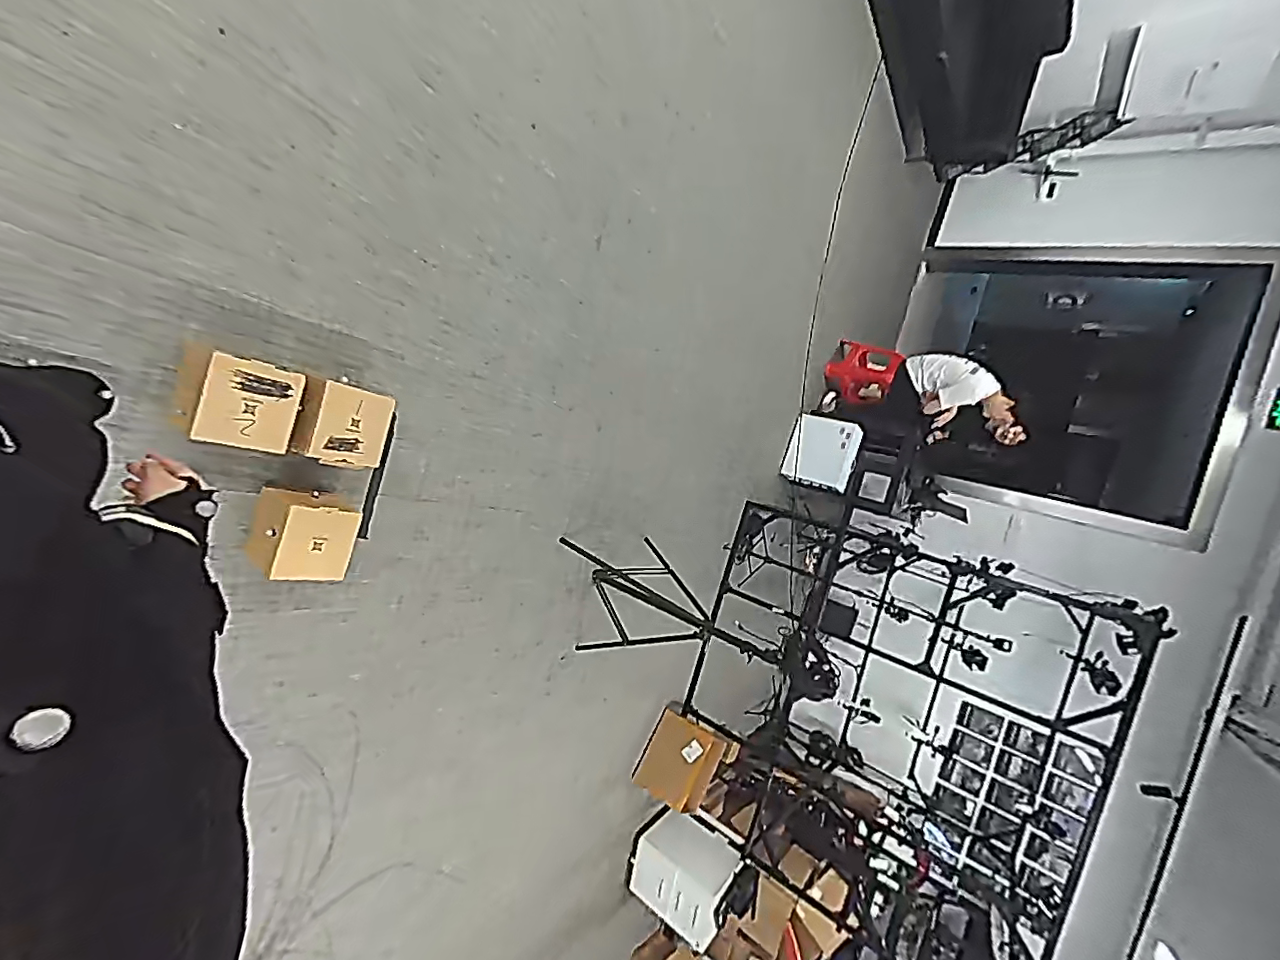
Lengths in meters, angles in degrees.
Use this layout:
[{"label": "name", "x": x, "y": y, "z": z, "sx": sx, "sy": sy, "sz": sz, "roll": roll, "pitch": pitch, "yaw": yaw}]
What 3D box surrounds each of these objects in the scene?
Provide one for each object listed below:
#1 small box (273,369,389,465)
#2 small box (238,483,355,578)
[{"label": "small box", "x": -0.738, "y": -0.150, "z": 1.285, "sx": 0.168, "sy": 0.176, "sz": 0.179, "roll": 16, "pitch": 91, "yaw": -55}, {"label": "small box", "x": -0.823, "y": 0.121, "z": 1.290, "sx": 0.168, "sy": 0.176, "sz": 0.179, "roll": 18, "pitch": 90, "yaw": -55}]
